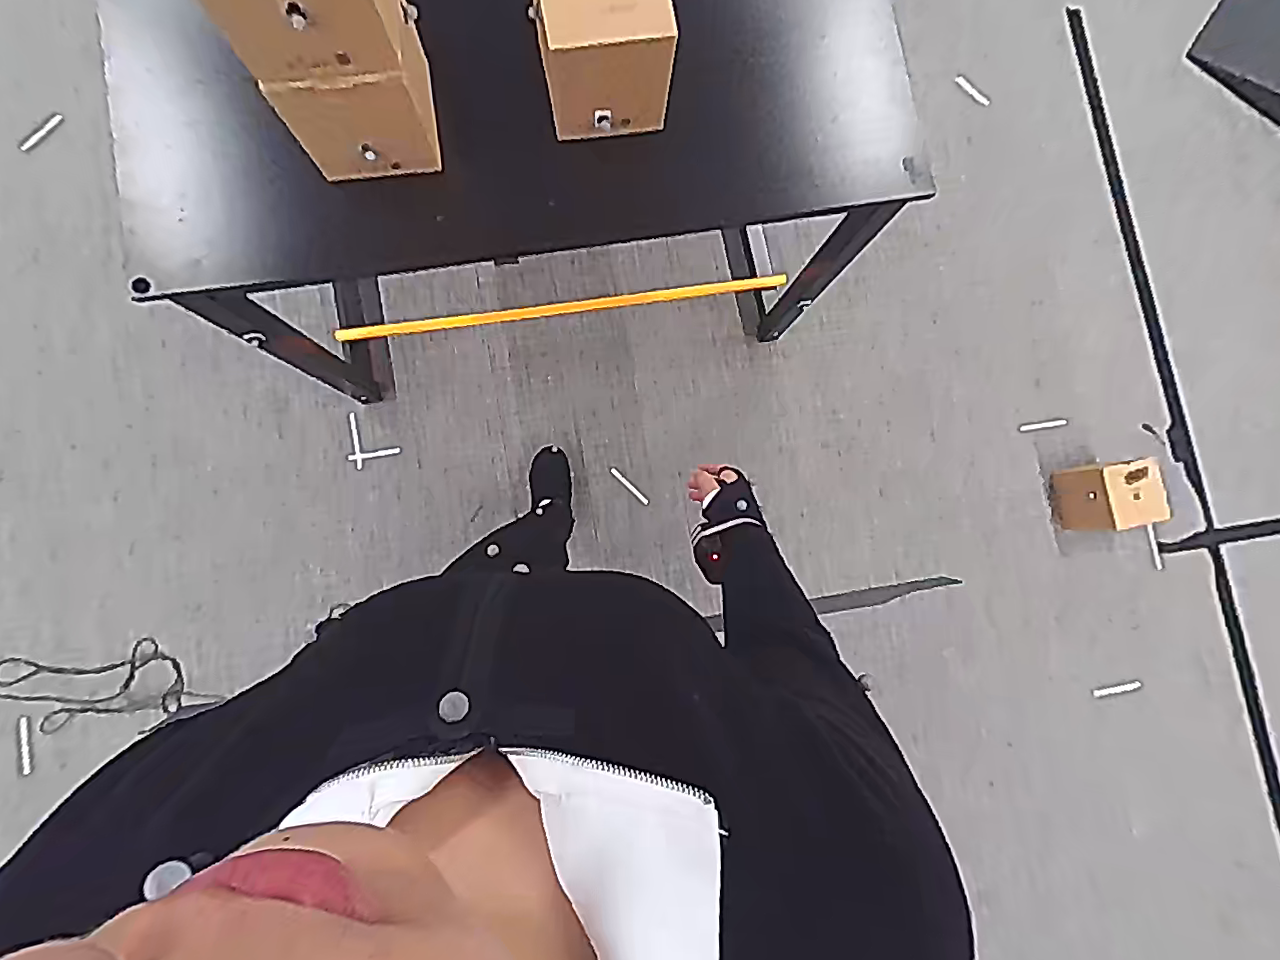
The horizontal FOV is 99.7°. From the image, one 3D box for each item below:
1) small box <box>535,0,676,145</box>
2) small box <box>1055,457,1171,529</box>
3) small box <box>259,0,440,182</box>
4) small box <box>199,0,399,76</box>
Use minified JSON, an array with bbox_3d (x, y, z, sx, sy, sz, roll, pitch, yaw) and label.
[{"bbox_3d":[-0.054,-0.619,0.763,0.168,0.176,0.179,-11,86,-4],"label":"small box"},{"bbox_3d":[1.334,0.042,1.540,0.168,0.176,0.179,-11,86,-5],"label":"small box"},{"bbox_3d":[-0.381,-0.539,0.727,0.168,0.176,0.179,-8,85,-5],"label":"small box"},{"bbox_3d":[-0.372,-0.564,0.565,0.168,0.176,0.179,-11,86,-6],"label":"small box"}]
